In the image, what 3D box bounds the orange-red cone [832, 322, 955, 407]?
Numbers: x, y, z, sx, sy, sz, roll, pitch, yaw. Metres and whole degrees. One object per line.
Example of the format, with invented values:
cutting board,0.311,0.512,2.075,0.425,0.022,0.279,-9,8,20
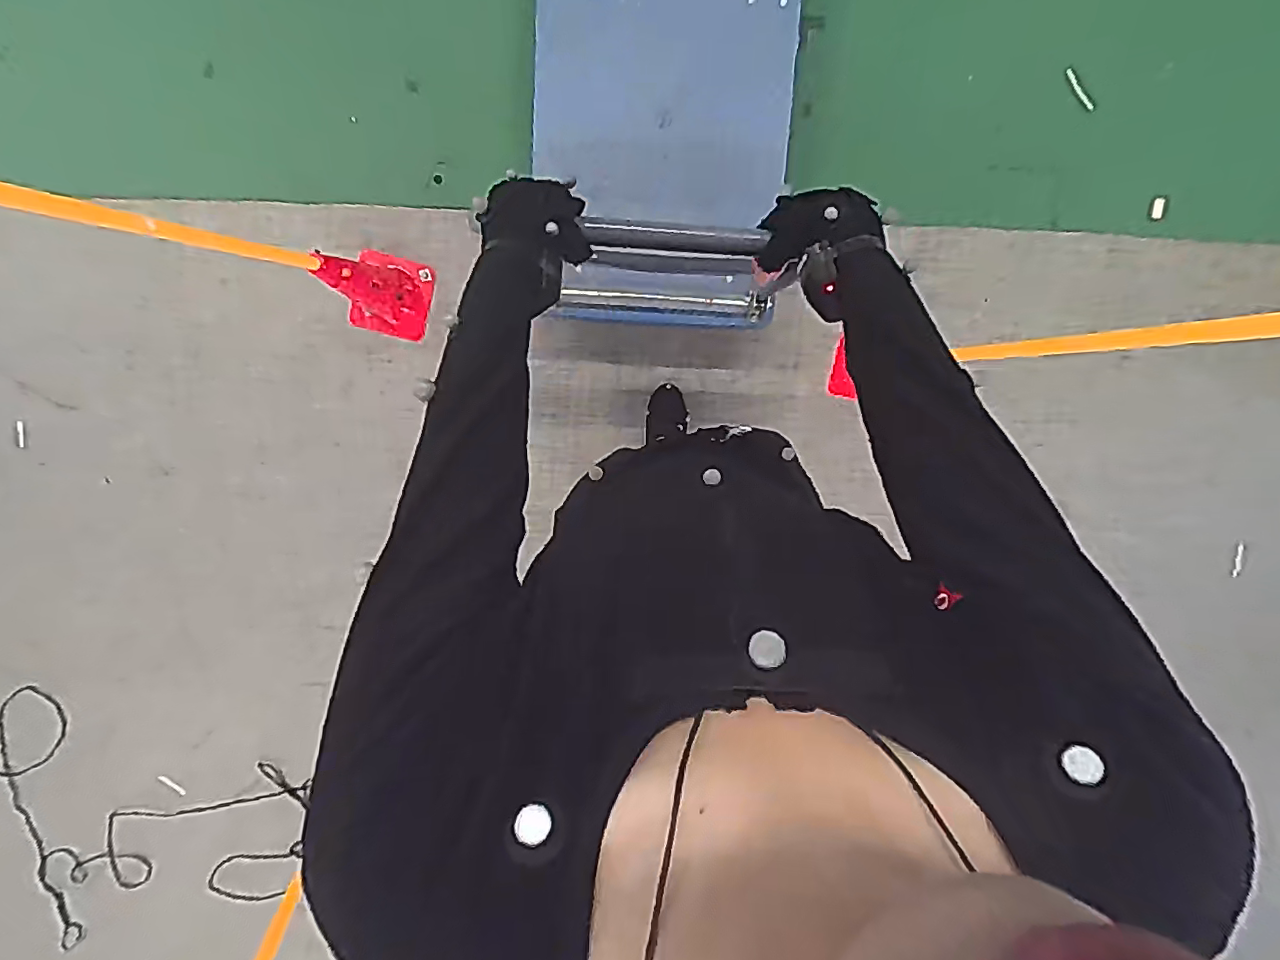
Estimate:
orange-red cone,0.633,-0.284,1.289,0.198,0.360,0.199,12,99,-2
